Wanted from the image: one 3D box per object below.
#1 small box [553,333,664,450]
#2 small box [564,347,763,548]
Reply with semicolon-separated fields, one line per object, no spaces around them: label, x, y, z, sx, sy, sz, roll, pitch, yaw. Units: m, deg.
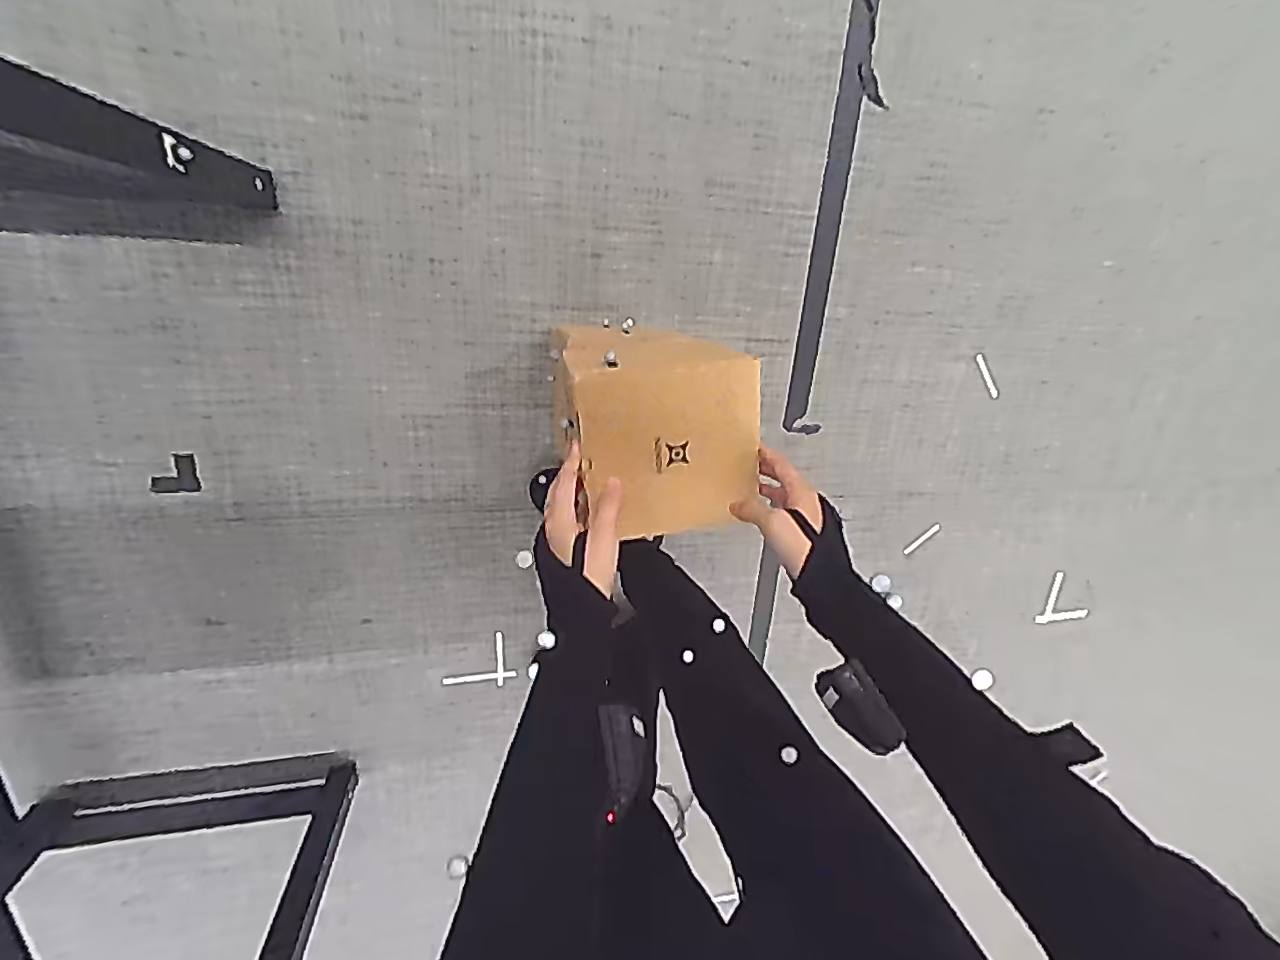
small box;-0.060;-0.159;0.930;0.168;0.176;0.179;-3;110;-11
small box;0.018;-0.047;0.583;0.179;0.176;0.168;-8;111;-8
